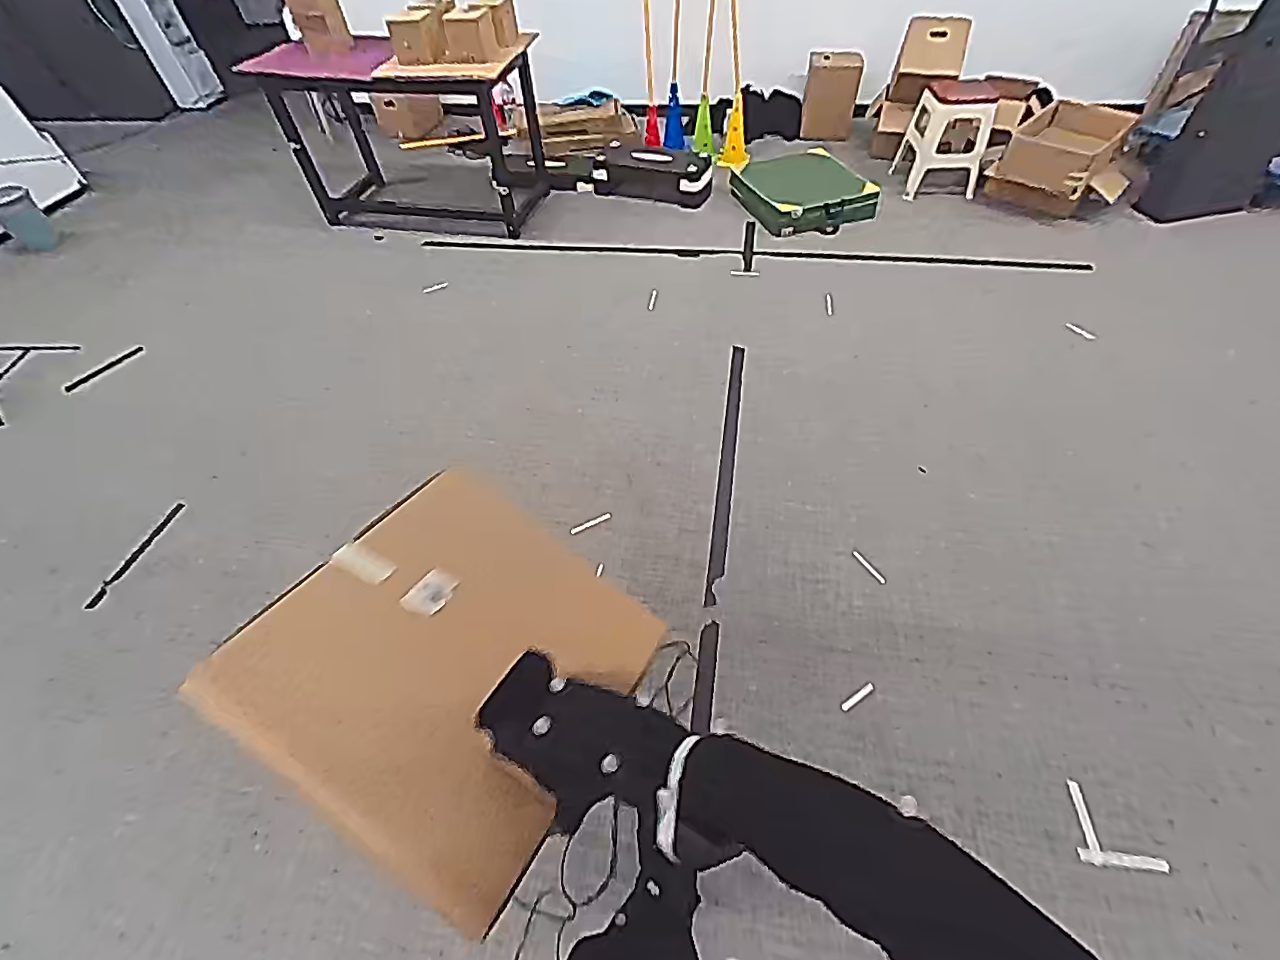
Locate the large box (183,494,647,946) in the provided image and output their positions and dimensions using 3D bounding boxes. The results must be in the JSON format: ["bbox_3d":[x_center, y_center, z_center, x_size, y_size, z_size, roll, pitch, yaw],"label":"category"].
[{"bbox_3d":[-0.249,0.291,0.670,0.320,0.408,0.320,36,48,3],"label":"large box"}]
